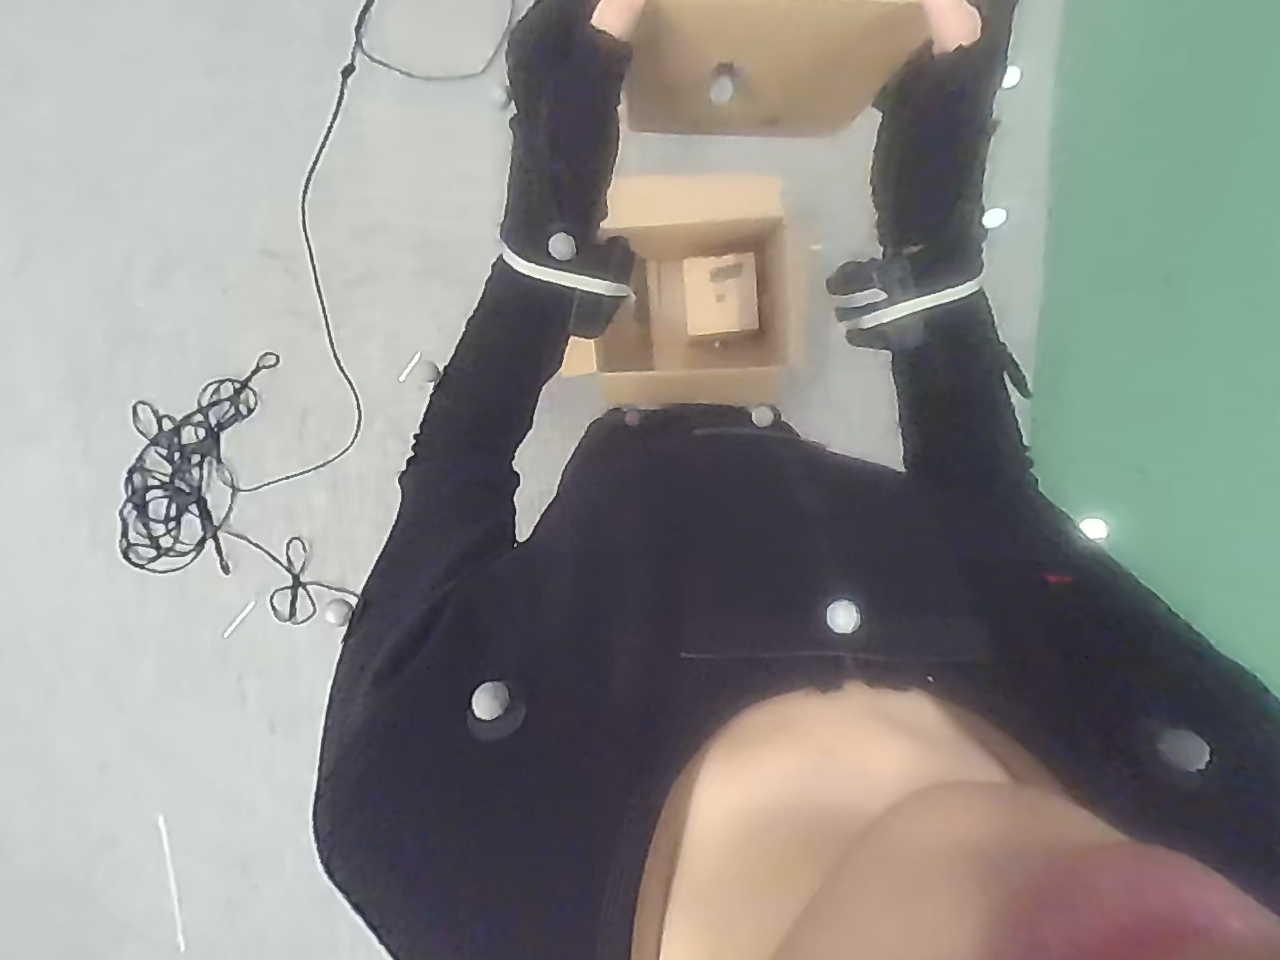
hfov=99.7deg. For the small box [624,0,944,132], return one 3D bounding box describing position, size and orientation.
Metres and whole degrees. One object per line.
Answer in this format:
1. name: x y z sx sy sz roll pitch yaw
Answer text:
1. small box: 0.077 -0.339 0.332 0.168 0.176 0.179 1 103 0
